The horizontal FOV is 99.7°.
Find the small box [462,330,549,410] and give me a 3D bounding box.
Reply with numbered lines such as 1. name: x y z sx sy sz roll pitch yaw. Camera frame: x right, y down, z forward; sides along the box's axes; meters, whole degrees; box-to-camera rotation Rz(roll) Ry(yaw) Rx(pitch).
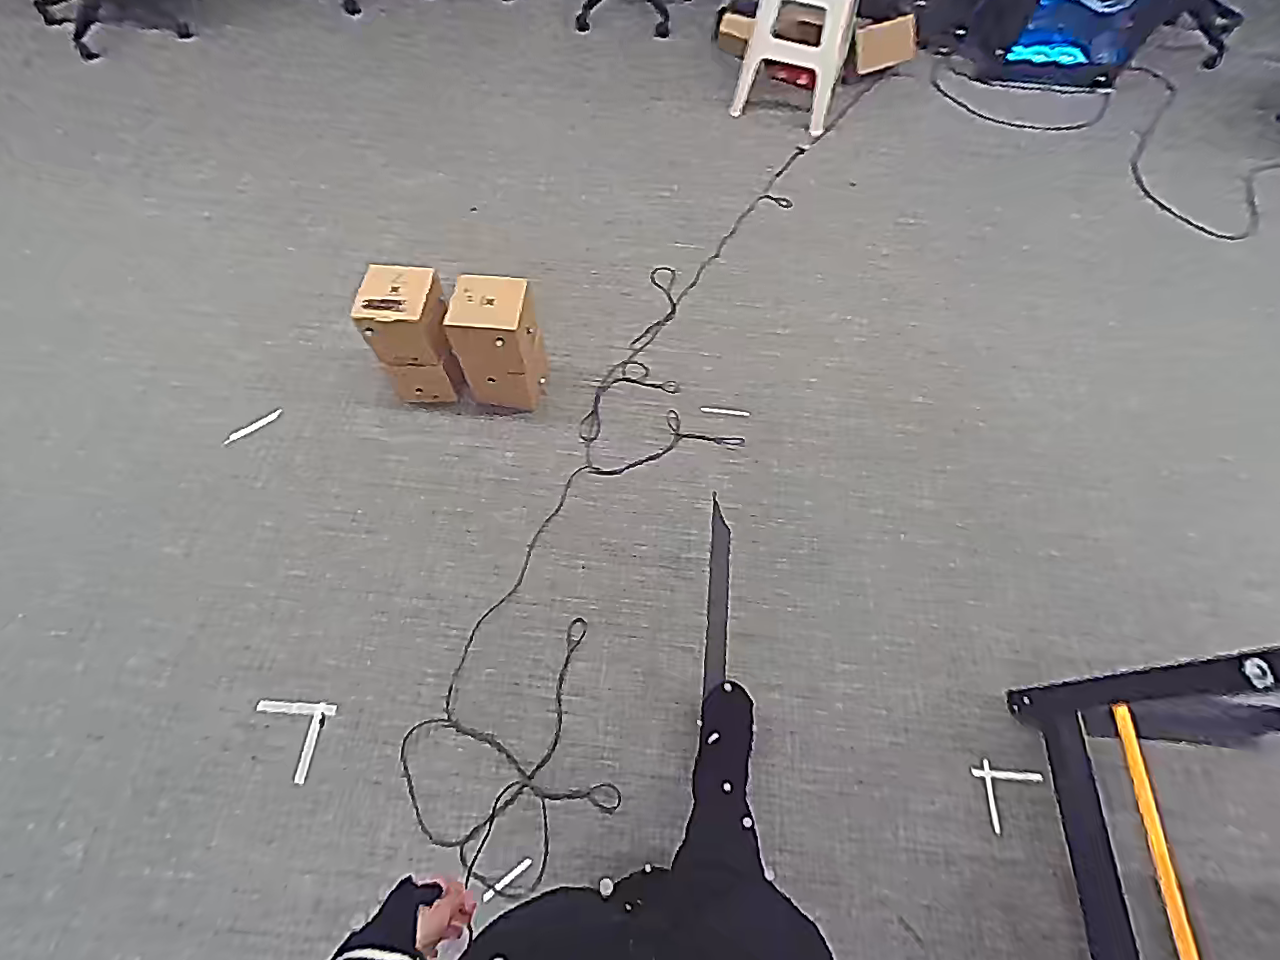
1. small box: -0.369 -0.316 1.516 0.179 0.176 0.168 11 64 3

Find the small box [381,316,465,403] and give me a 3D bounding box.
1. small box: -0.601 -0.337 1.524 0.168 0.176 0.179 0 64 -2

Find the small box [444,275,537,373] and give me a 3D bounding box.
1. small box: -0.367 -0.389 1.369 0.179 0.176 0.168 5 63 2
